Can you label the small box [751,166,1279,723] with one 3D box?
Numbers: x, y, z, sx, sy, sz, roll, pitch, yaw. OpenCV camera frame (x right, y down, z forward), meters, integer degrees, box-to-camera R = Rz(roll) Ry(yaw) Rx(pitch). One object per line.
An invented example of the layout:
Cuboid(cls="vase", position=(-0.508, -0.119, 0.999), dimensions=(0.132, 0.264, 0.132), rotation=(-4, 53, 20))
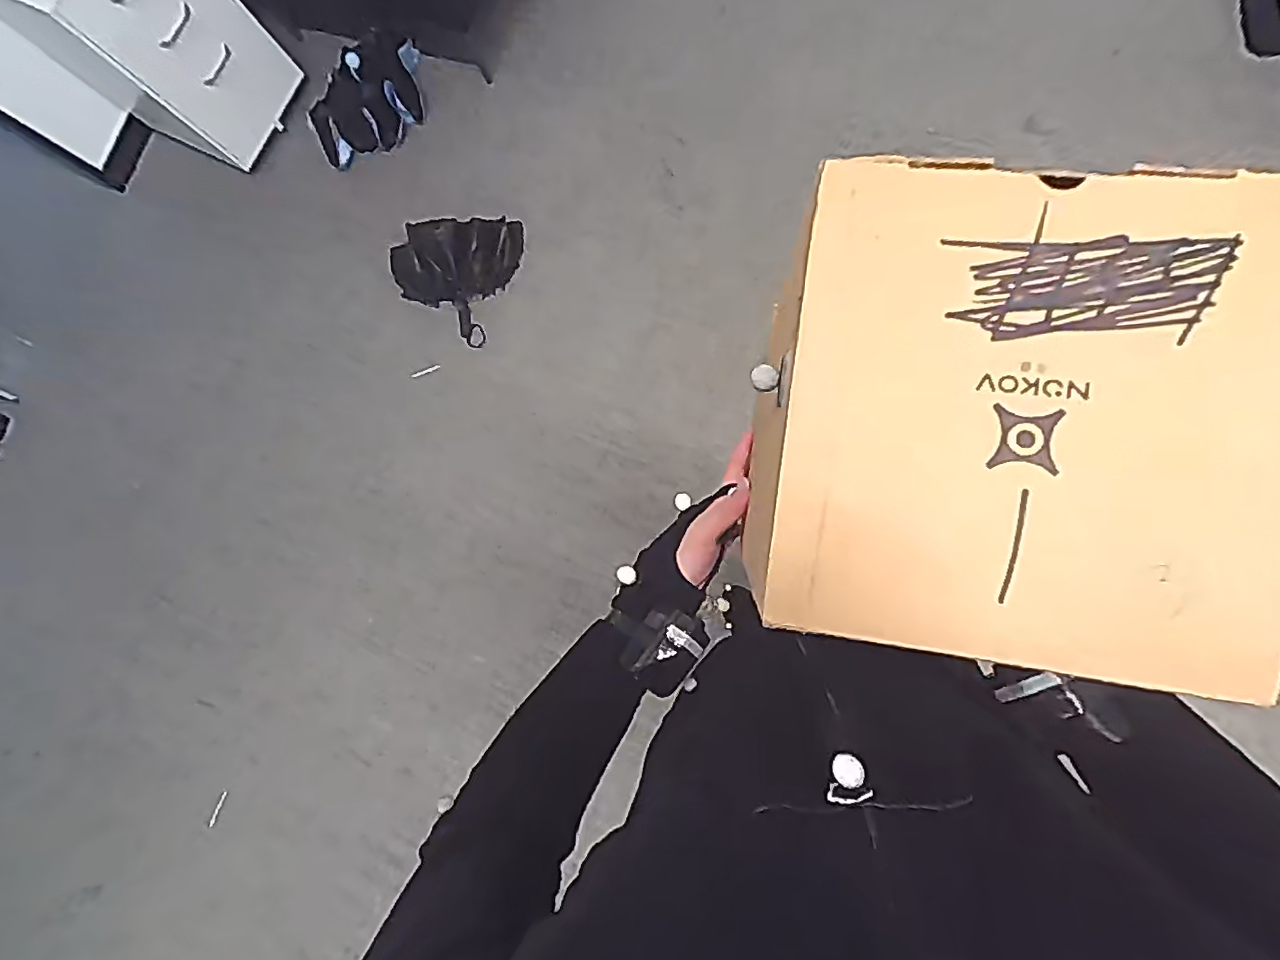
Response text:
Cuboid(cls="small box", position=(0.147, -0.017, 0.263), dimensions=(0.168, 0.176, 0.179), rotation=(7, 91, 10))
